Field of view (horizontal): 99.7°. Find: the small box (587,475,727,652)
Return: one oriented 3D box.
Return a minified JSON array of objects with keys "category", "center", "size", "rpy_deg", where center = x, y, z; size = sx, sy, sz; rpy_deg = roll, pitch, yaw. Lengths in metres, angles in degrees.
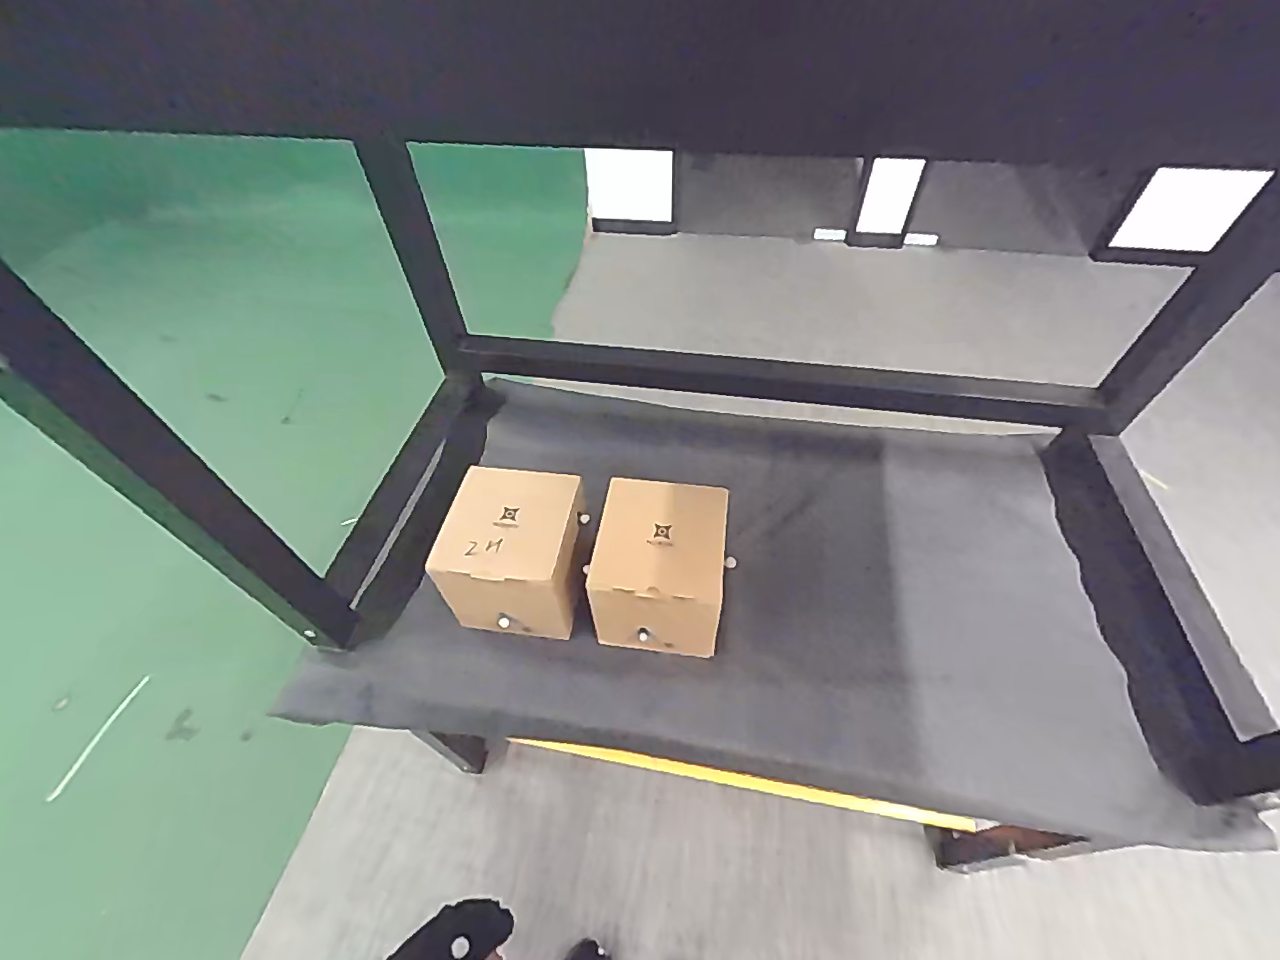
[{"category":"small box","center":[0.029,0.118,0.765],"size":[0.168,0.176,0.179],"rpy_deg":[5,50,7]}]

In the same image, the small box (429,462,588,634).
[{"category":"small box","center":[-0.173,0.099,0.784],"size":[0.168,0.176,0.179],"rpy_deg":[5,51,6]}]
